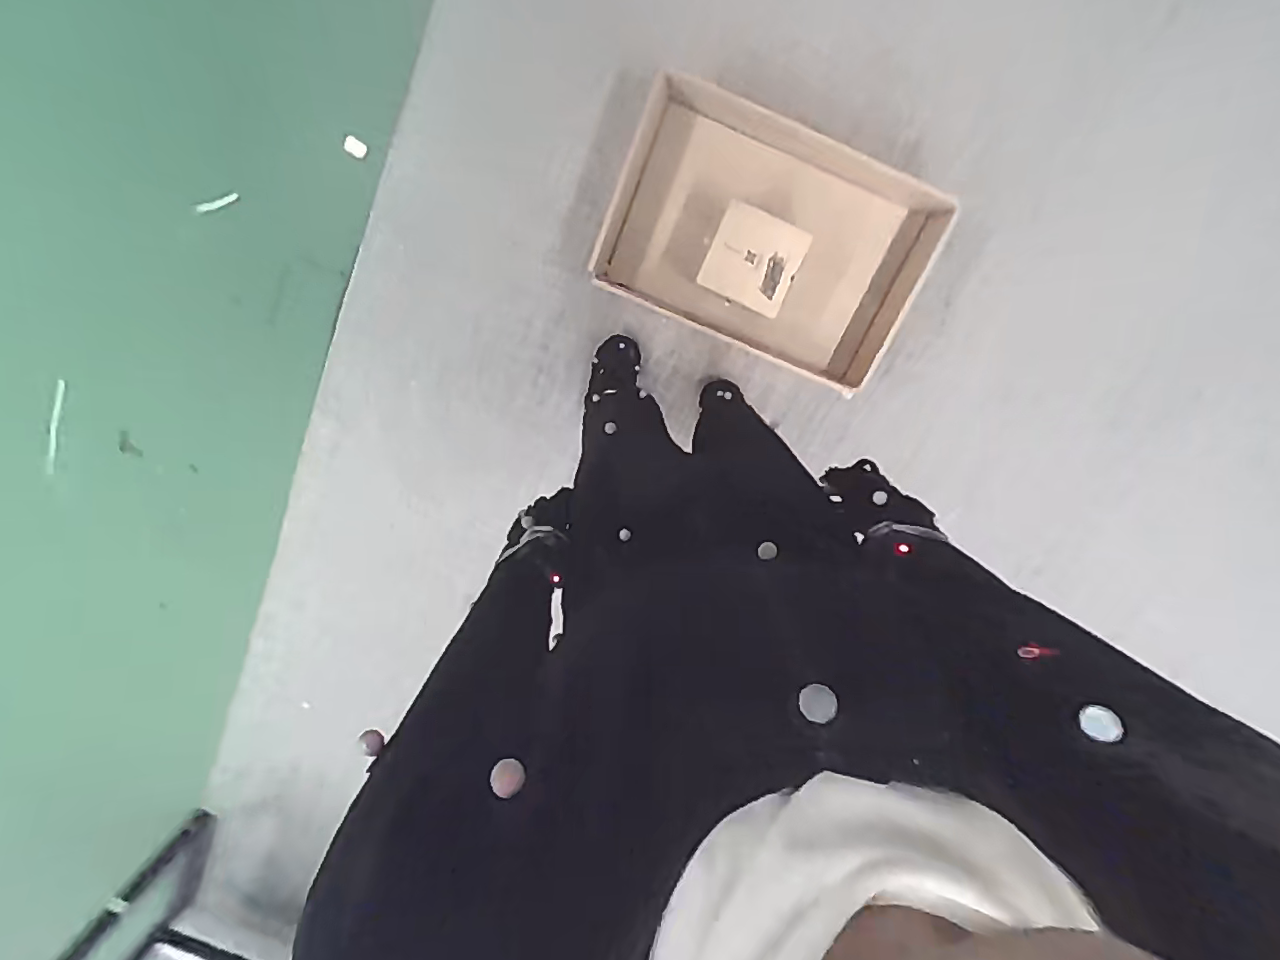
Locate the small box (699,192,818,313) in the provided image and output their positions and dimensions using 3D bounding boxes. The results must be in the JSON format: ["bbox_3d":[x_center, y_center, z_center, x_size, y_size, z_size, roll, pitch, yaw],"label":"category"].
[{"bbox_3d":[0.235,-0.462,1.116,0.179,0.176,0.168,25,108,-2],"label":"small box"}]
